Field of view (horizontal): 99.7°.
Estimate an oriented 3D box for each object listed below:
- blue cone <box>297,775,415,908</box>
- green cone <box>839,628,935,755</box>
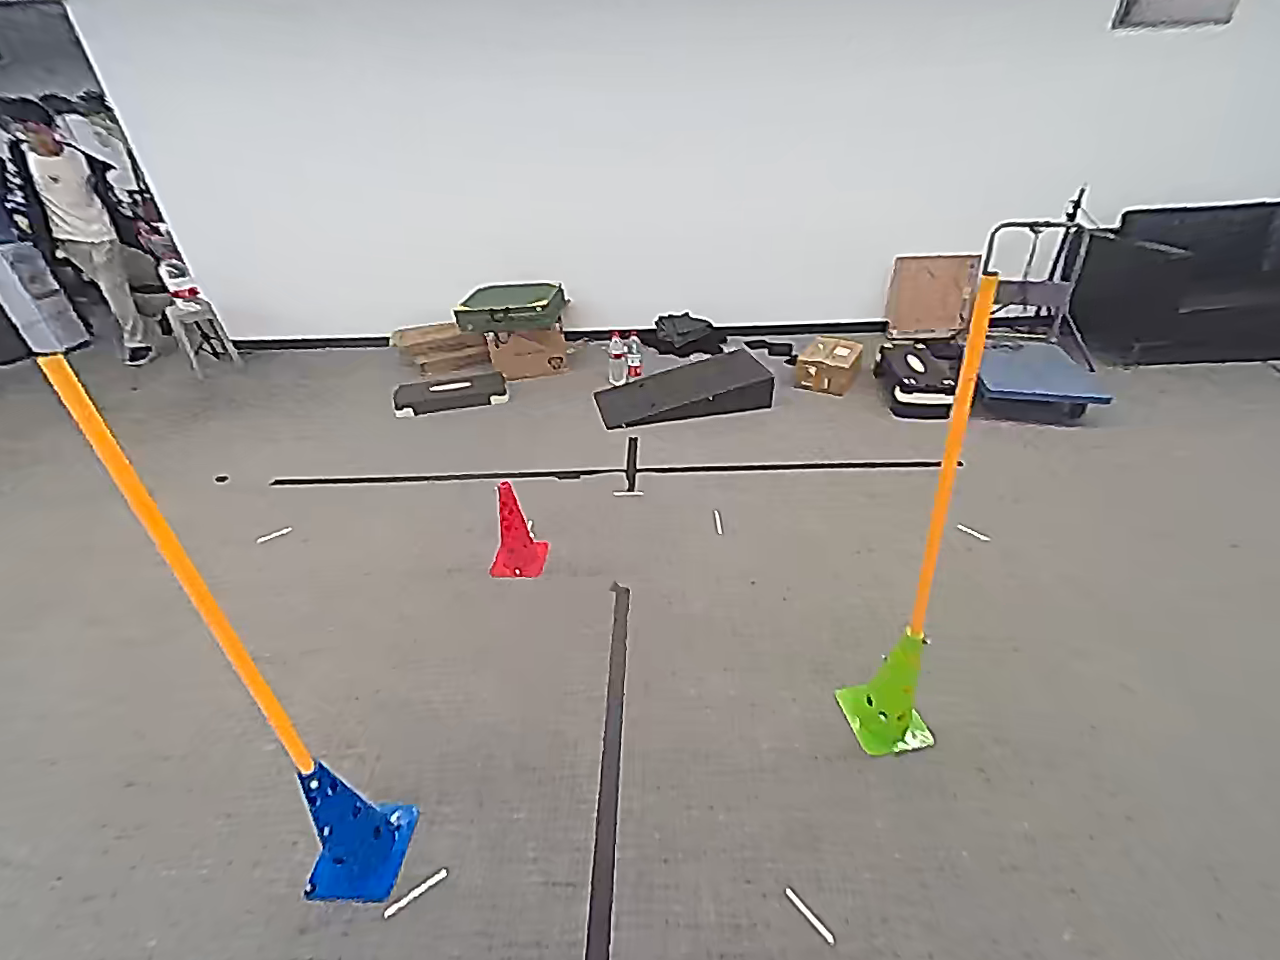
[{"bbox_3d":[-0.648,0.745,1.173,0.193,0.380,0.192,0,34,4],"label":"blue cone"},{"bbox_3d":[0.677,0.516,1.410,0.200,0.368,0.202,-7,35,-7],"label":"green cone"}]
